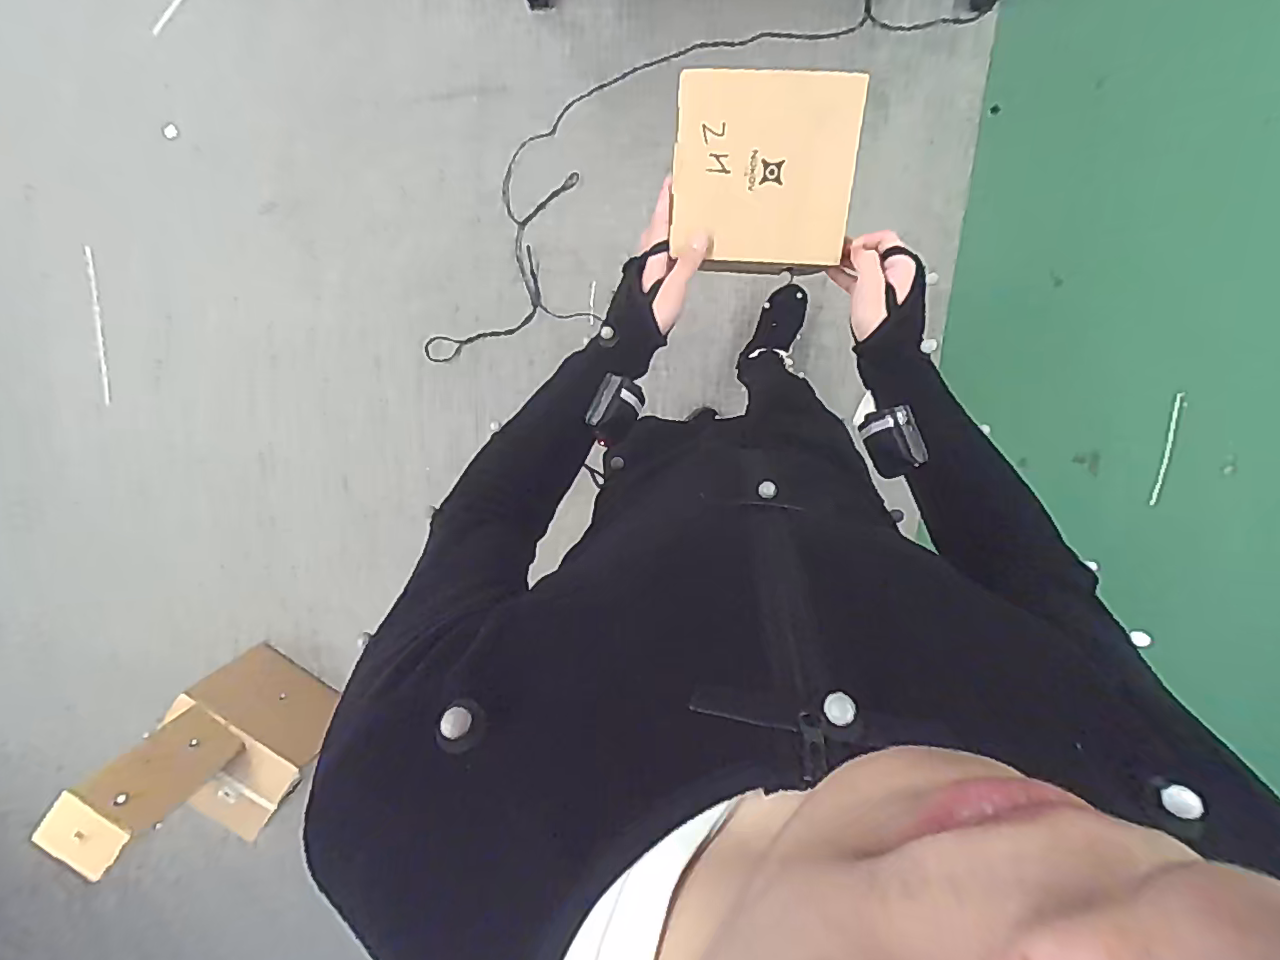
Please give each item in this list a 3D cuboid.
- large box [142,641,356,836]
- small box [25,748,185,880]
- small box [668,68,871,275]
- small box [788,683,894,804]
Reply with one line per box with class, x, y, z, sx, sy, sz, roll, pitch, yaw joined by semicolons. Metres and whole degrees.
large box;-1.208;0.787;1.692;0.408;0.320;0.320;35;101;-4
small box;-1.251;0.773;1.276;0.179;0.176;0.168;39;99;-5
small box;0.126;-0.320;0.593;0.179;0.176;0.168;4;108;4
small box;0.472;0.628;1.307;0.179;0.176;0.168;-27;97;7
